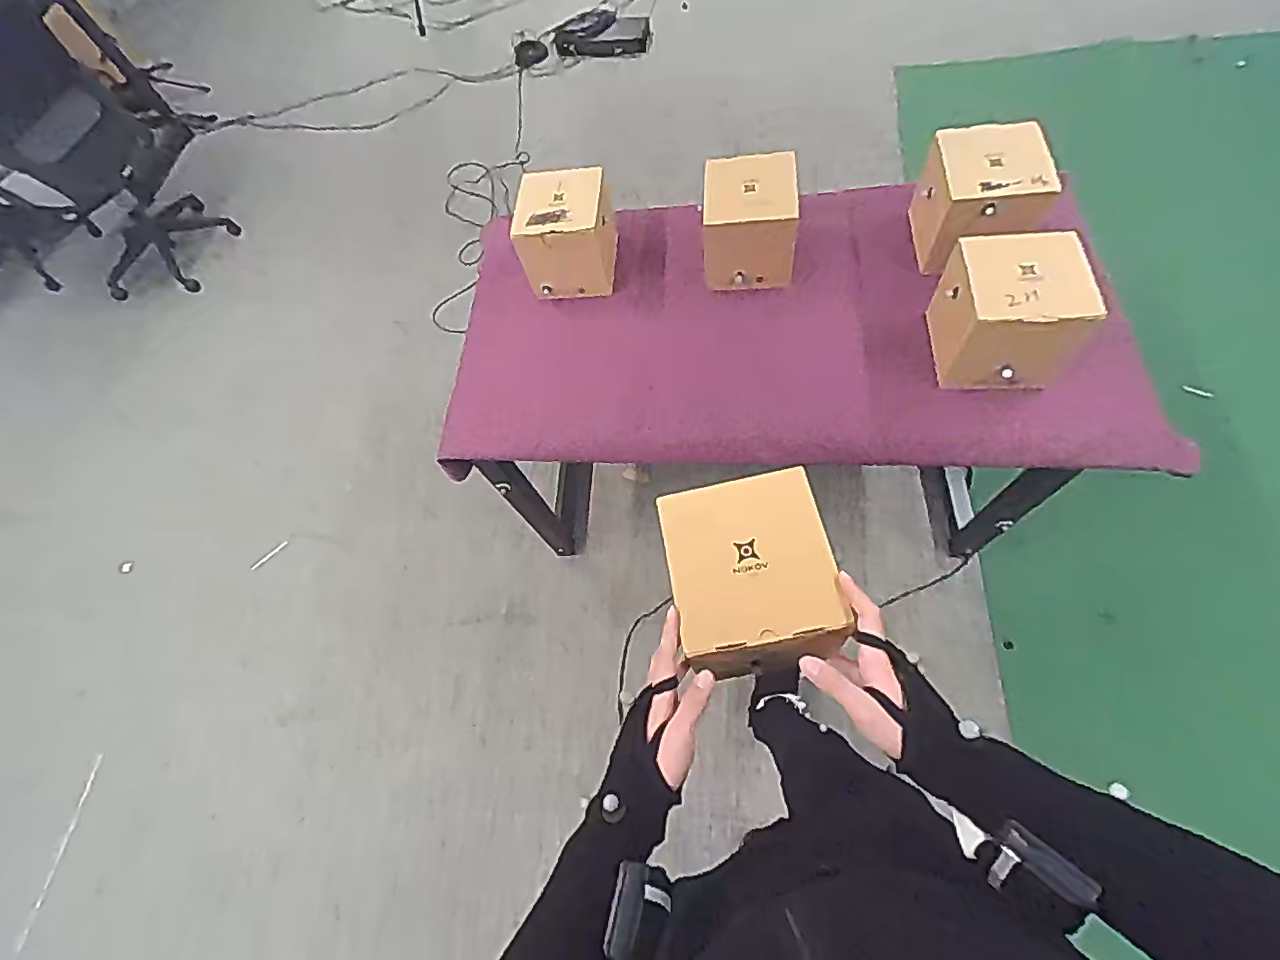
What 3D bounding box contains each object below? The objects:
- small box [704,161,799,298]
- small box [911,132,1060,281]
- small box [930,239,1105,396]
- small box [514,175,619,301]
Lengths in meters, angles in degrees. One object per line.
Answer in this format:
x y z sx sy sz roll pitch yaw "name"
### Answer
0.213 -0.479 1.047 0.168 0.176 0.179 0 65 11 "small box"
0.610 -0.491 0.982 0.168 0.176 0.179 0 64 10 "small box"
0.585 -0.255 0.869 0.168 0.176 0.179 1 63 12 "small box"
-0.141 -0.484 1.107 0.168 0.176 0.179 0 64 9 "small box"
